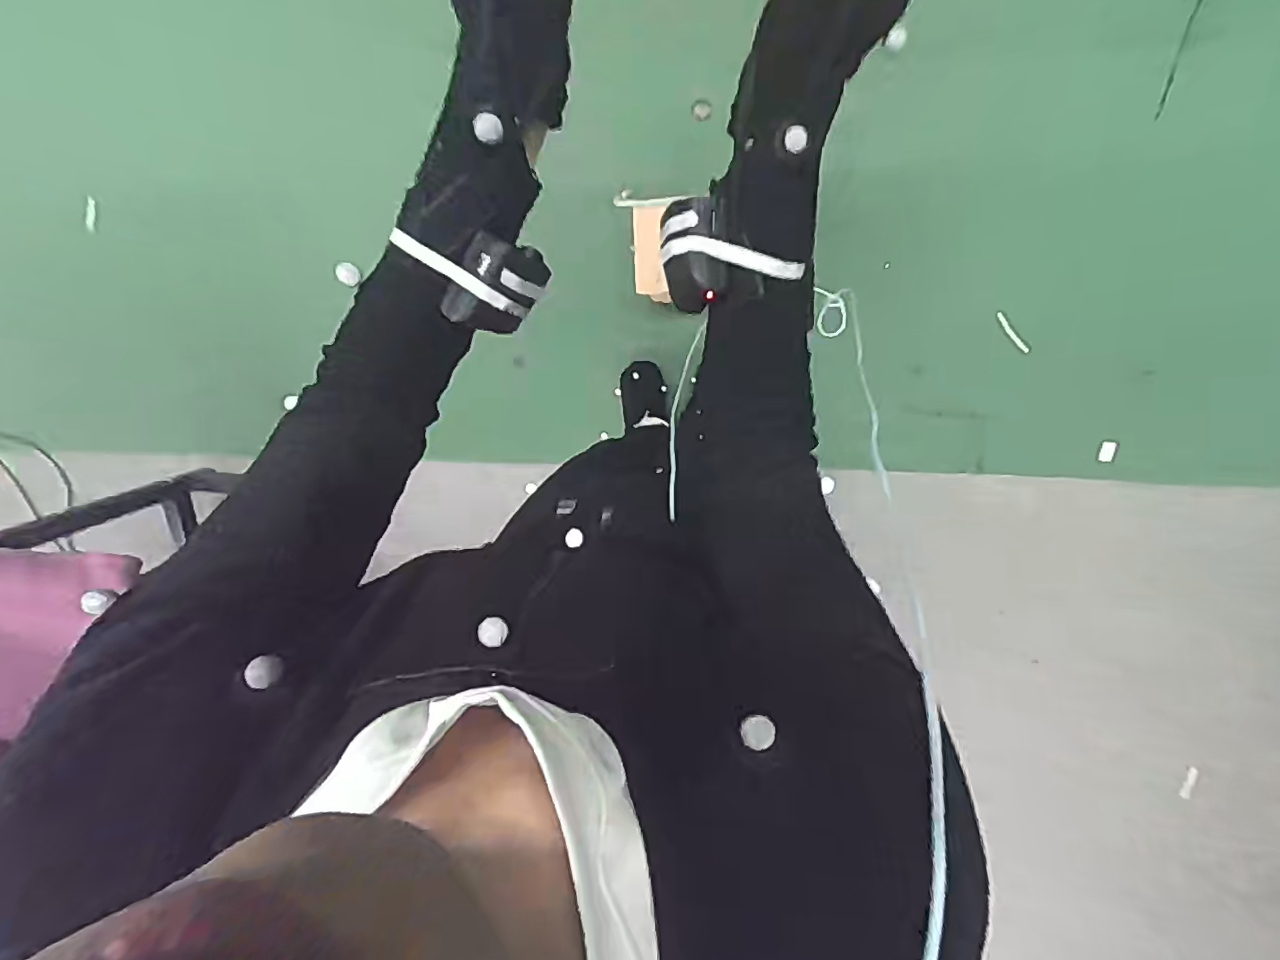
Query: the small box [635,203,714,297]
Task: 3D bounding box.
[{"bbox_3d":[0.080,-0.508,1.215,0.168,0.176,0.179,1,107,8],"label":"small box"}]
